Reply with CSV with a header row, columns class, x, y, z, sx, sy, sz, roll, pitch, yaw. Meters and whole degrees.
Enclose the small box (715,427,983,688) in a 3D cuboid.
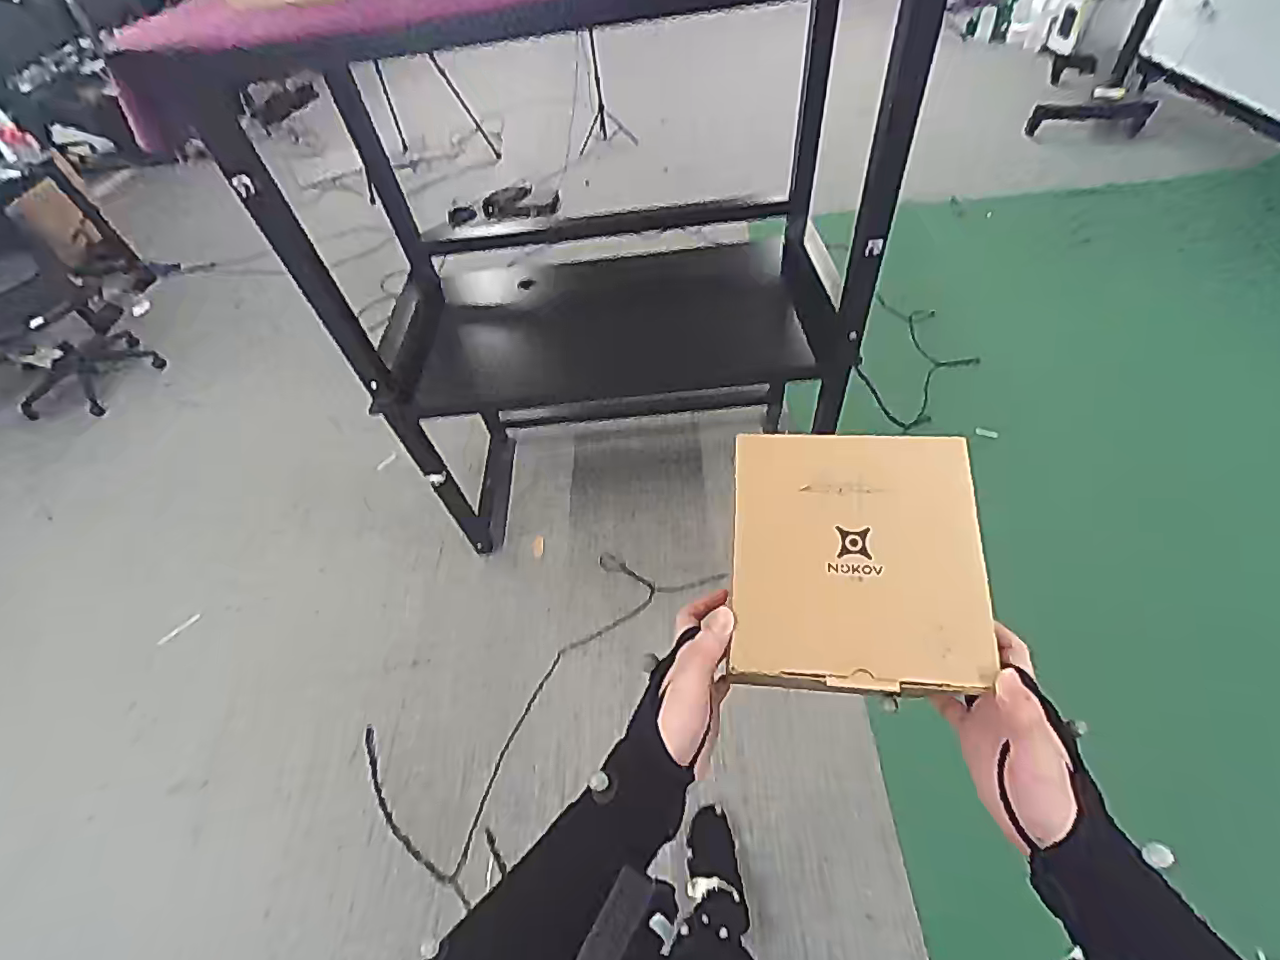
class,x,y,z,sx,sy,sz,roll,pitch,yaw
small box,0.151,0.072,0.447,0.168,0.176,0.179,2,68,9
